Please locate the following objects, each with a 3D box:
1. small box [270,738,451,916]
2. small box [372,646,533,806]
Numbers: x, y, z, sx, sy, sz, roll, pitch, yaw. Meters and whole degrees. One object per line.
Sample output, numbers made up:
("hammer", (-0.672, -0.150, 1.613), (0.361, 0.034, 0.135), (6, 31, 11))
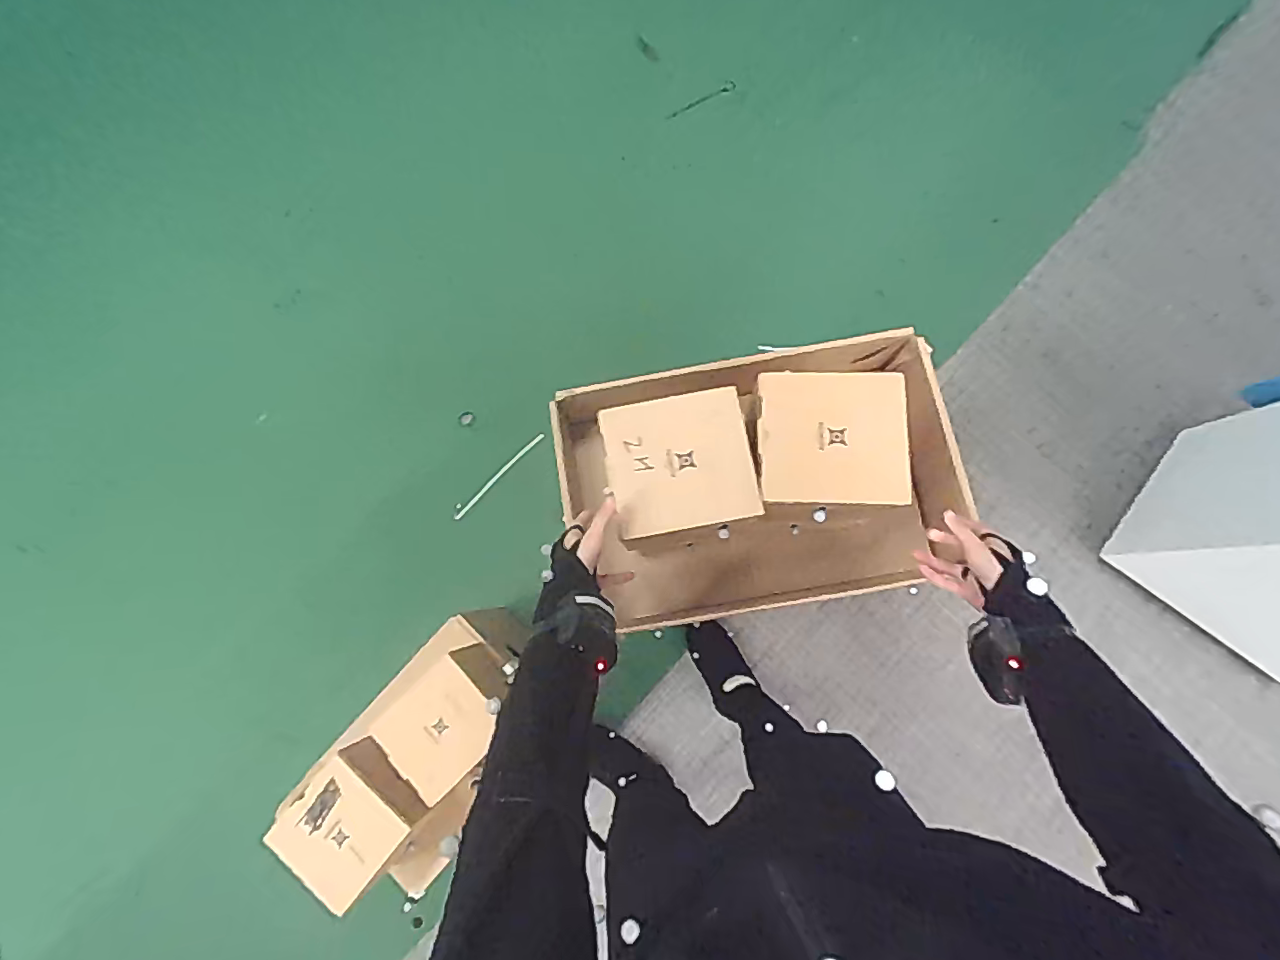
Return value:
("small box", (-0.462, 0.566, 0.921), (0.179, 0.176, 0.168), (39, 83, 10))
("small box", (-0.314, 0.415, 0.945), (0.179, 0.176, 0.168), (-43, 80, -6))
